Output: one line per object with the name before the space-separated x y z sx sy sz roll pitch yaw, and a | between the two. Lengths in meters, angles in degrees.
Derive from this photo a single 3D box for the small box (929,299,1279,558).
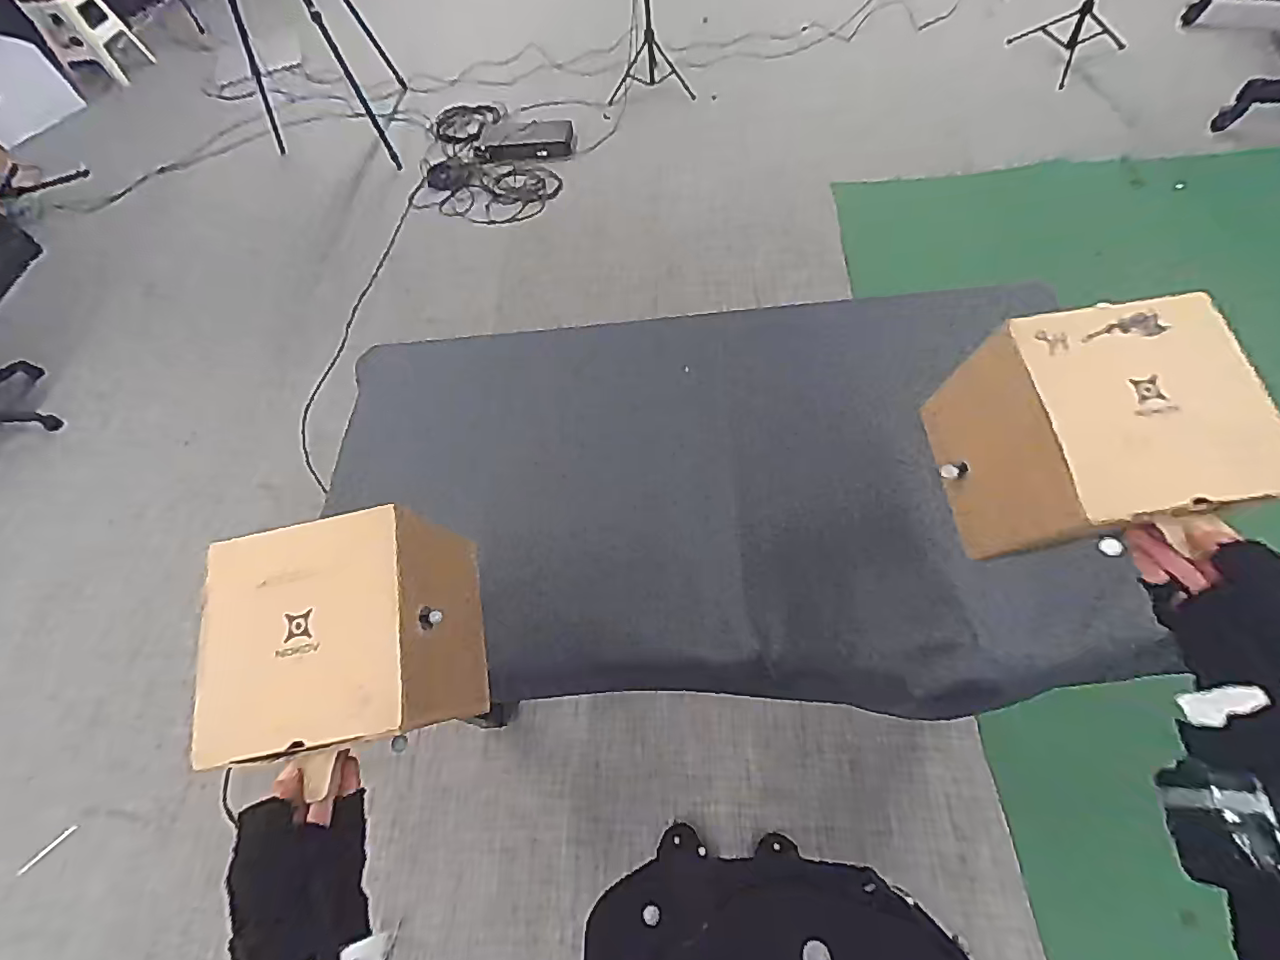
small box | 0.396 -0.030 0.485 0.168 0.176 0.179 -8 72 1

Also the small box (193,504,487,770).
small box | -0.250 0.139 0.490 0.168 0.176 0.179 -12 70 2
